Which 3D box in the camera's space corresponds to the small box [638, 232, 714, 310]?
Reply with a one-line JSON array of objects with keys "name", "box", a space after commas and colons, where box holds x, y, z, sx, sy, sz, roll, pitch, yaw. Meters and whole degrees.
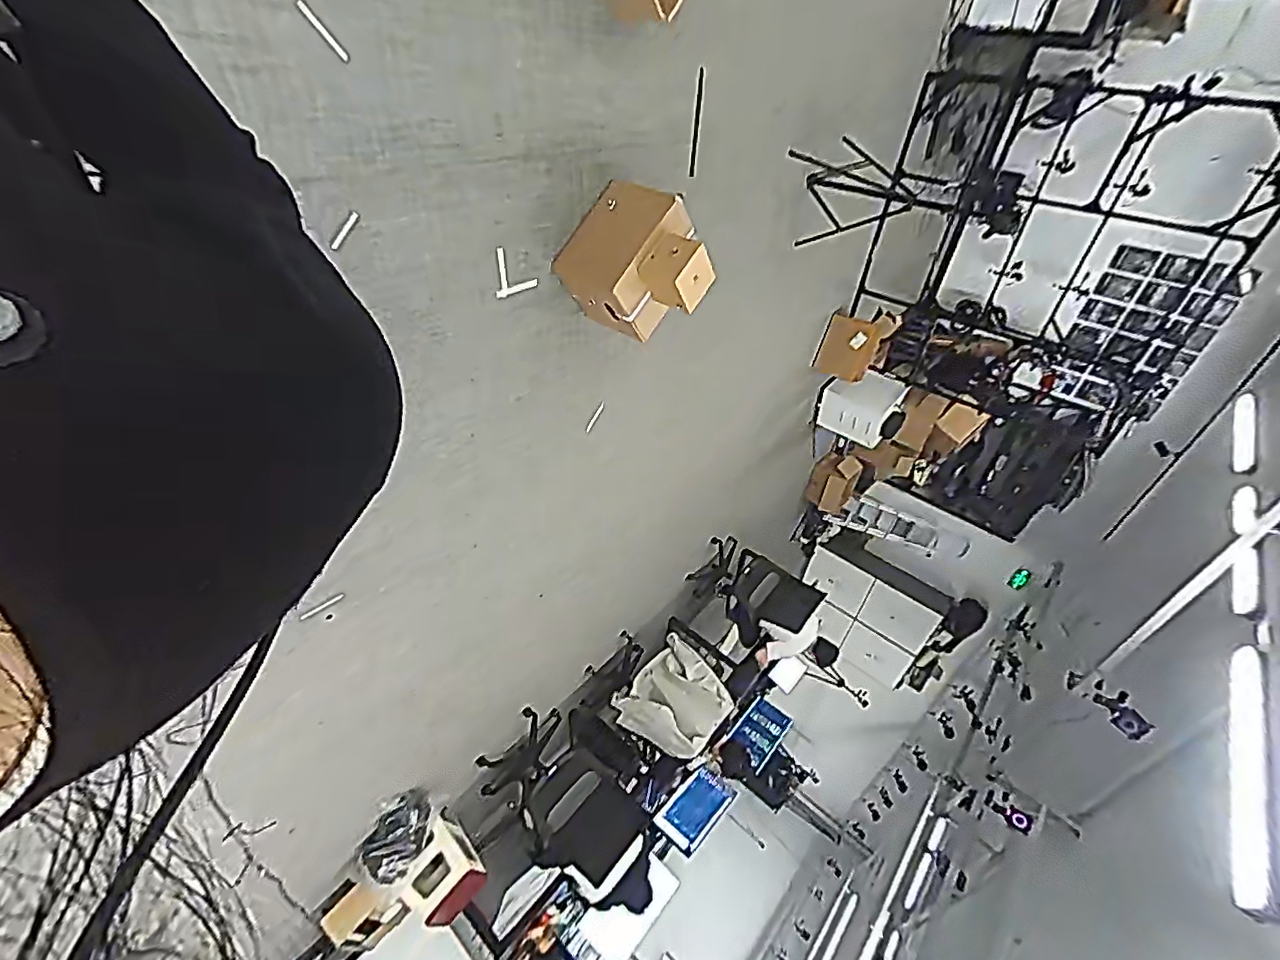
[{"name": "small box", "box": [0.121, -0.715, 1.837, 0.168, 0.176, 0.179, -56, 151, -5]}]
